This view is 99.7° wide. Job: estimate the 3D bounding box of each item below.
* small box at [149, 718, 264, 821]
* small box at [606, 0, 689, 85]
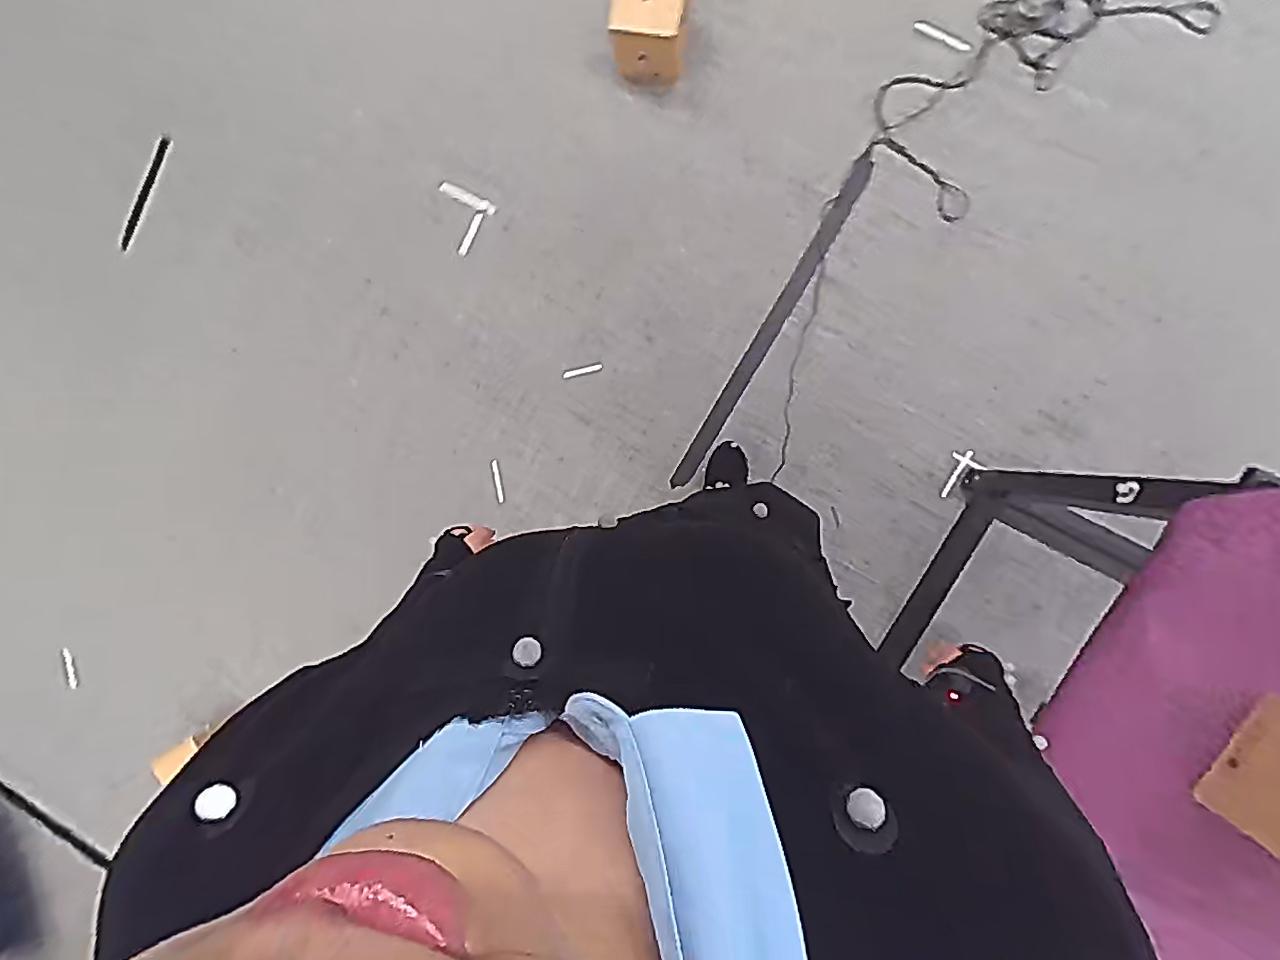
[{"bbox_3d":[-1.276,0.851,1.606,0.168,0.176,0.179,-36,88,8],"label":"small box"},{"bbox_3d":[0.026,-1.134,1.350,0.168,0.176,0.179,14,94,6],"label":"small box"}]
